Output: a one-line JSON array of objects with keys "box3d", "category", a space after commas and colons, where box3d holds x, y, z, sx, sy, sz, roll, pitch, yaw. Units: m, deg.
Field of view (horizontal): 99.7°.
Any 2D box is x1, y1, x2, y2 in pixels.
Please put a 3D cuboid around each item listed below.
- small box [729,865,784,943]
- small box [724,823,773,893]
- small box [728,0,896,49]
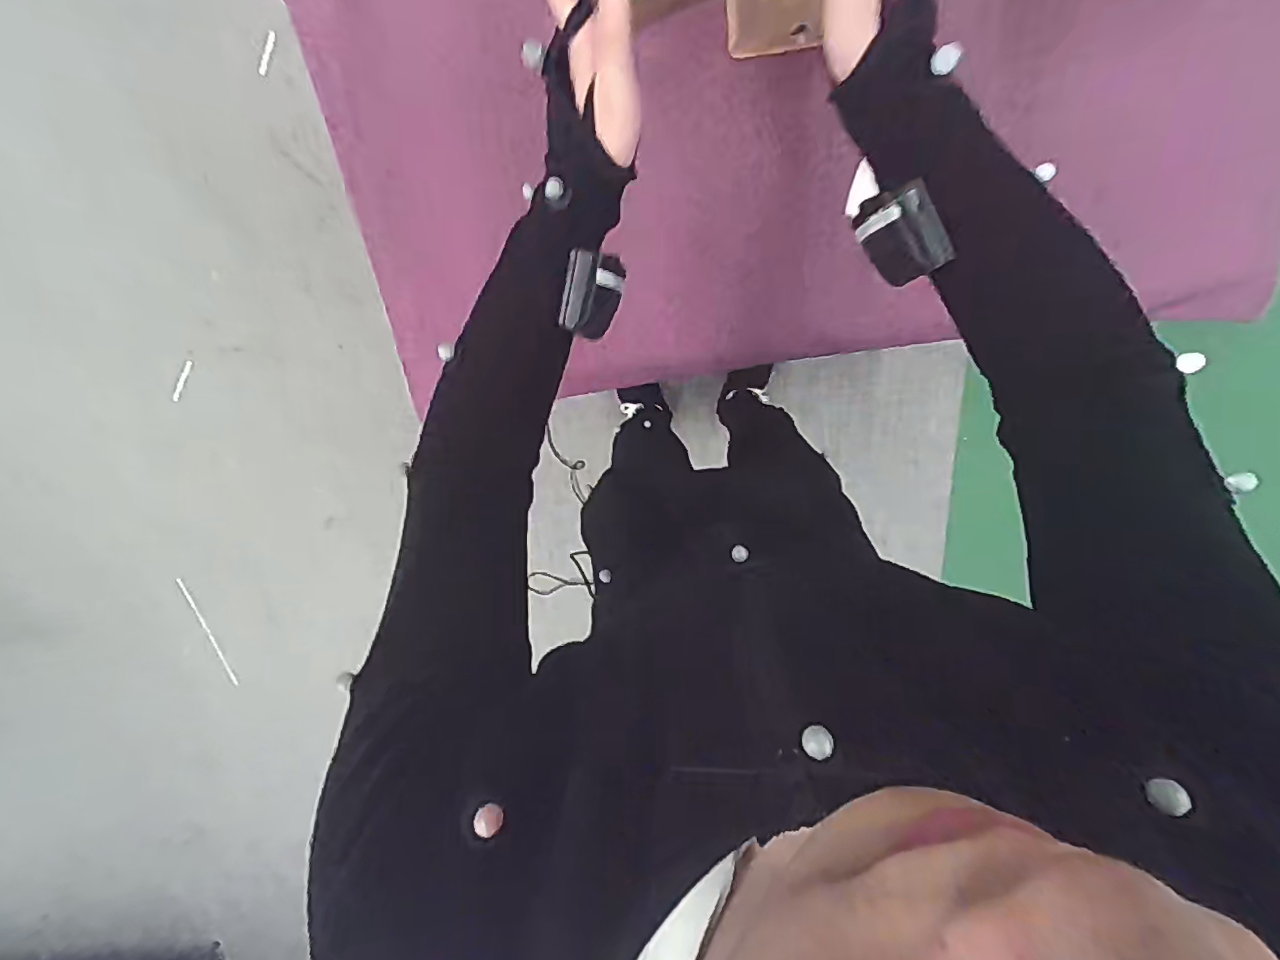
[{"box3d": [0.422, 1.552, 1.980, 0.168, 0.176, 0.179, -3, 113, 1], "category": "small box"}, {"box3d": [0.424, 1.491, 2.132, 0.168, 0.176, 0.179, -3, 114, 2], "category": "small box"}, {"box3d": [0.177, -0.564, 0.528, 0.168, 0.176, 0.179, -6, 114, 3], "category": "small box"}]
